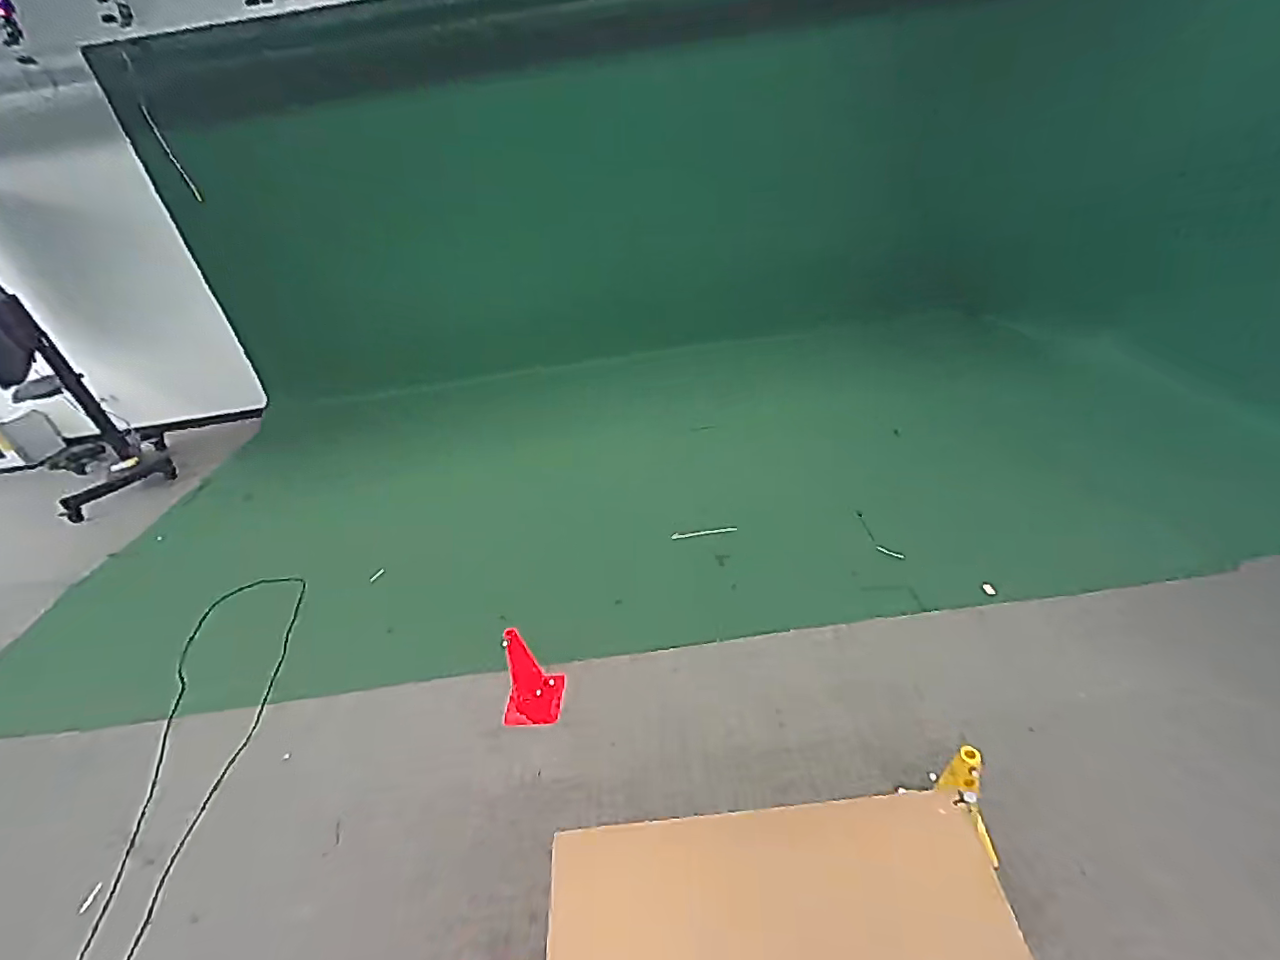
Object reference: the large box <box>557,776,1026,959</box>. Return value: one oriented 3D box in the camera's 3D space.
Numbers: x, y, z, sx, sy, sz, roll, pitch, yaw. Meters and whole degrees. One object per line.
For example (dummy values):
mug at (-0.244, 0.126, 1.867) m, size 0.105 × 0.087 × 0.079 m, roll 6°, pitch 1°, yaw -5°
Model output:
large box at (0.142, 0.541, 0.546) m, size 0.408 × 0.320 × 0.320 m, roll -8°, pitch 44°, yaw 2°

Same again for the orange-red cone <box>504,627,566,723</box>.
orange-red cone at (-0.402, 0.641, 1.853) m, size 0.199 × 0.360 × 0.198 m, roll -5°, pitch 32°, yaw 9°
